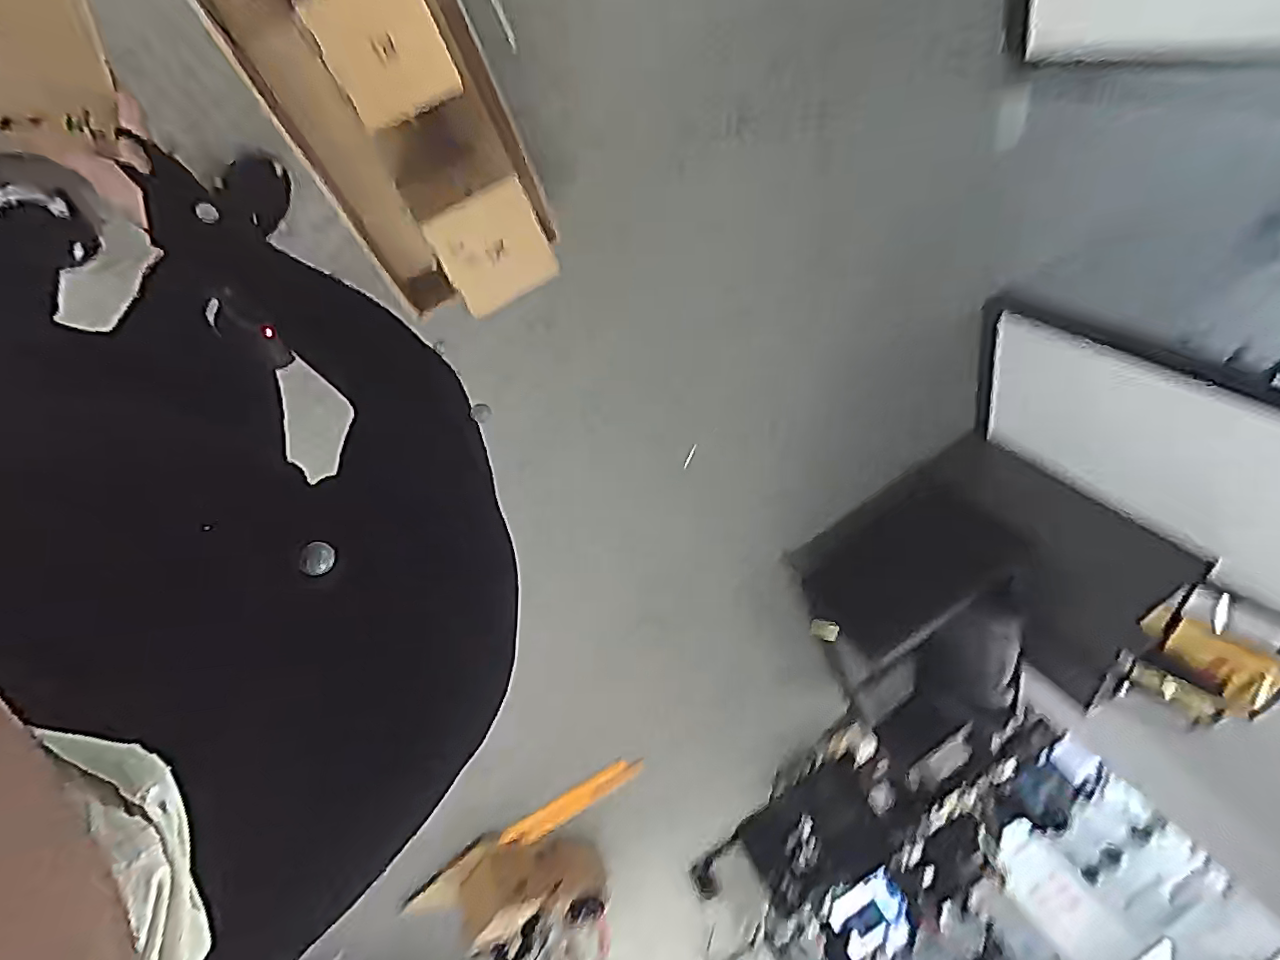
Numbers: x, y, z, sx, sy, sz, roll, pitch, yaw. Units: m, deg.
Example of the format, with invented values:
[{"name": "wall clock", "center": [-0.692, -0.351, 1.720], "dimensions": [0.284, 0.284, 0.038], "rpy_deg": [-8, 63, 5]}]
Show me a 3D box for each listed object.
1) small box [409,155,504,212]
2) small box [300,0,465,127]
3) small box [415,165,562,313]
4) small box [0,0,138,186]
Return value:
[{"name": "small box", "center": [-0.335, -0.518, 1.069], "dimensions": [0.179, 0.176, 0.168], "rpy_deg": [-31, 133, -8]}, {"name": "small box", "center": [-0.418, -0.705, 0.874], "dimensions": [0.179, 0.176, 0.168], "rpy_deg": [-32, 135, -7]}, {"name": "small box", "center": [-0.268, -0.428, 0.949], "dimensions": [0.179, 0.176, 0.168], "rpy_deg": [-32, 132, -6]}, {"name": "small box", "center": [-0.574, -0.369, 0.466], "dimensions": [0.168, 0.176, 0.179], "rpy_deg": [-20, 117, -38]}]
